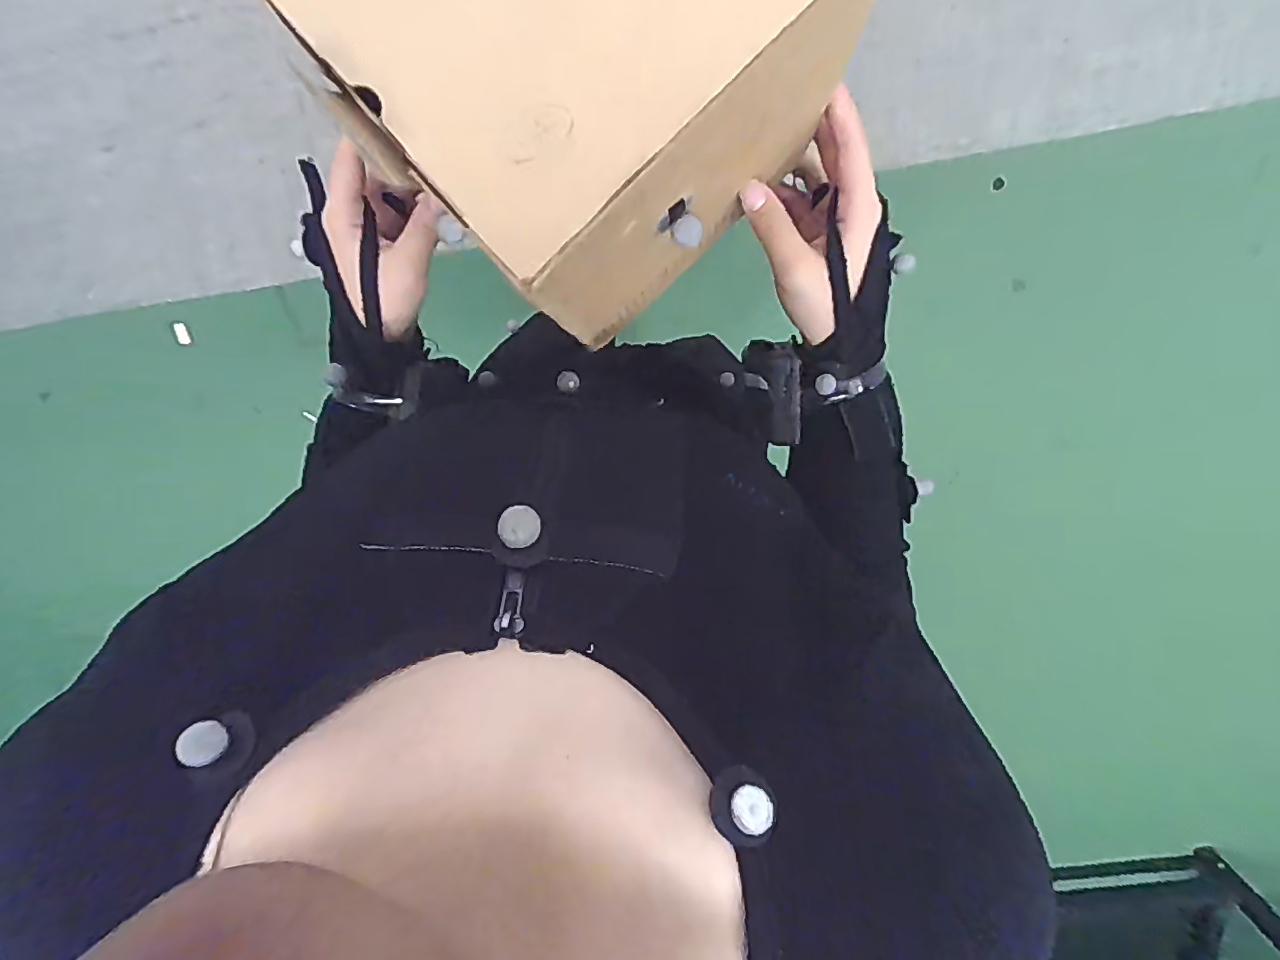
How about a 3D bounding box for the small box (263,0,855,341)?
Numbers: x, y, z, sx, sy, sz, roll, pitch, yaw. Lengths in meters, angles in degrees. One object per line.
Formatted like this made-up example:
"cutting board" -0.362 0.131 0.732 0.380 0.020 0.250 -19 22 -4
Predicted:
"small box" -0.023 -0.193 0.270 0.179 0.176 0.168 -42 91 7
